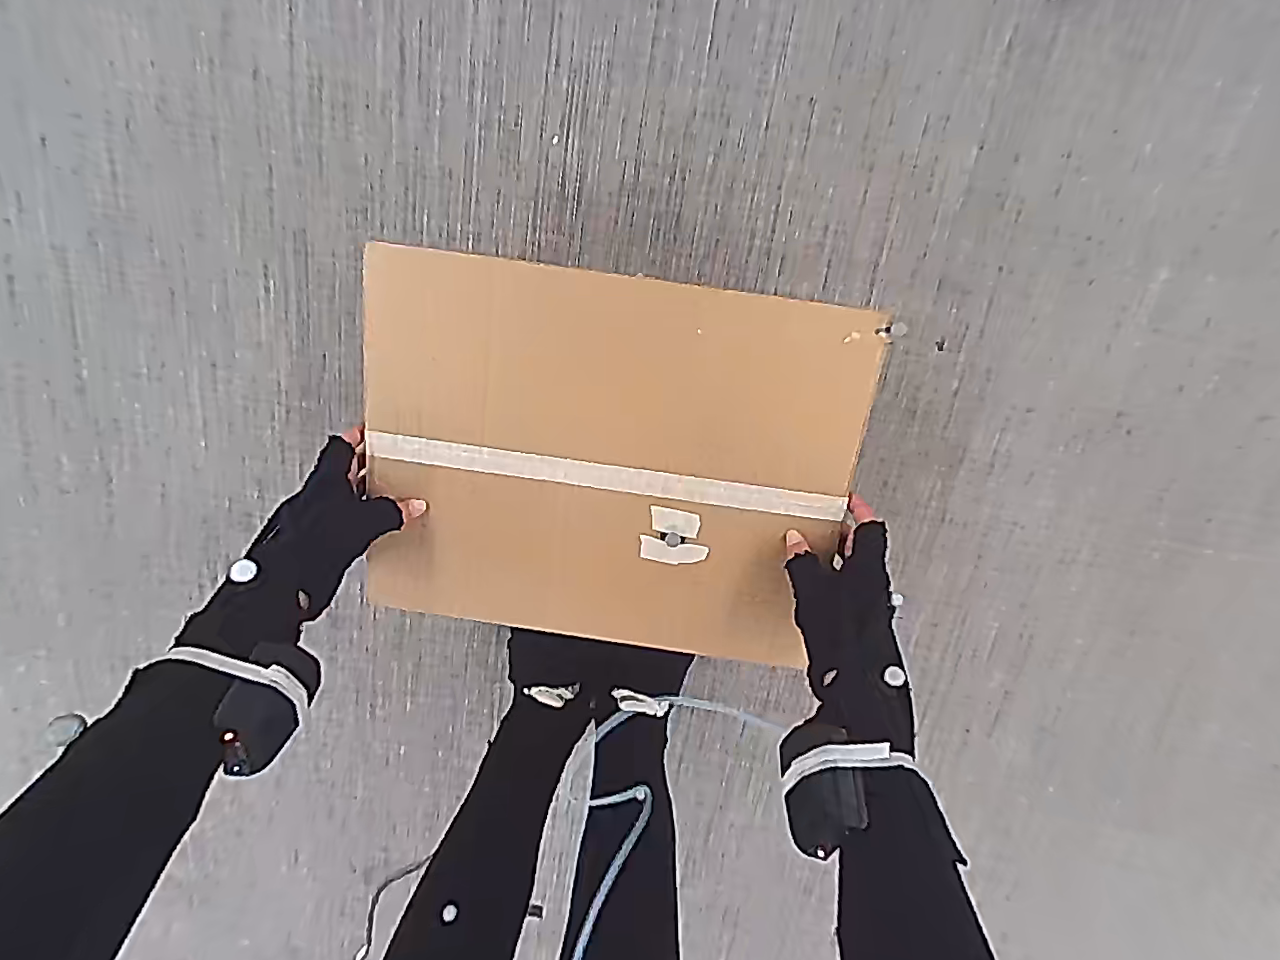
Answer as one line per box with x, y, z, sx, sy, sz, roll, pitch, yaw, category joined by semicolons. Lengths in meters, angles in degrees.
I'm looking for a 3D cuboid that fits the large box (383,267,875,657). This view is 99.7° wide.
-0.021;-0.040;0.612;0.408;0.320;0.320;7;107;1;large box
